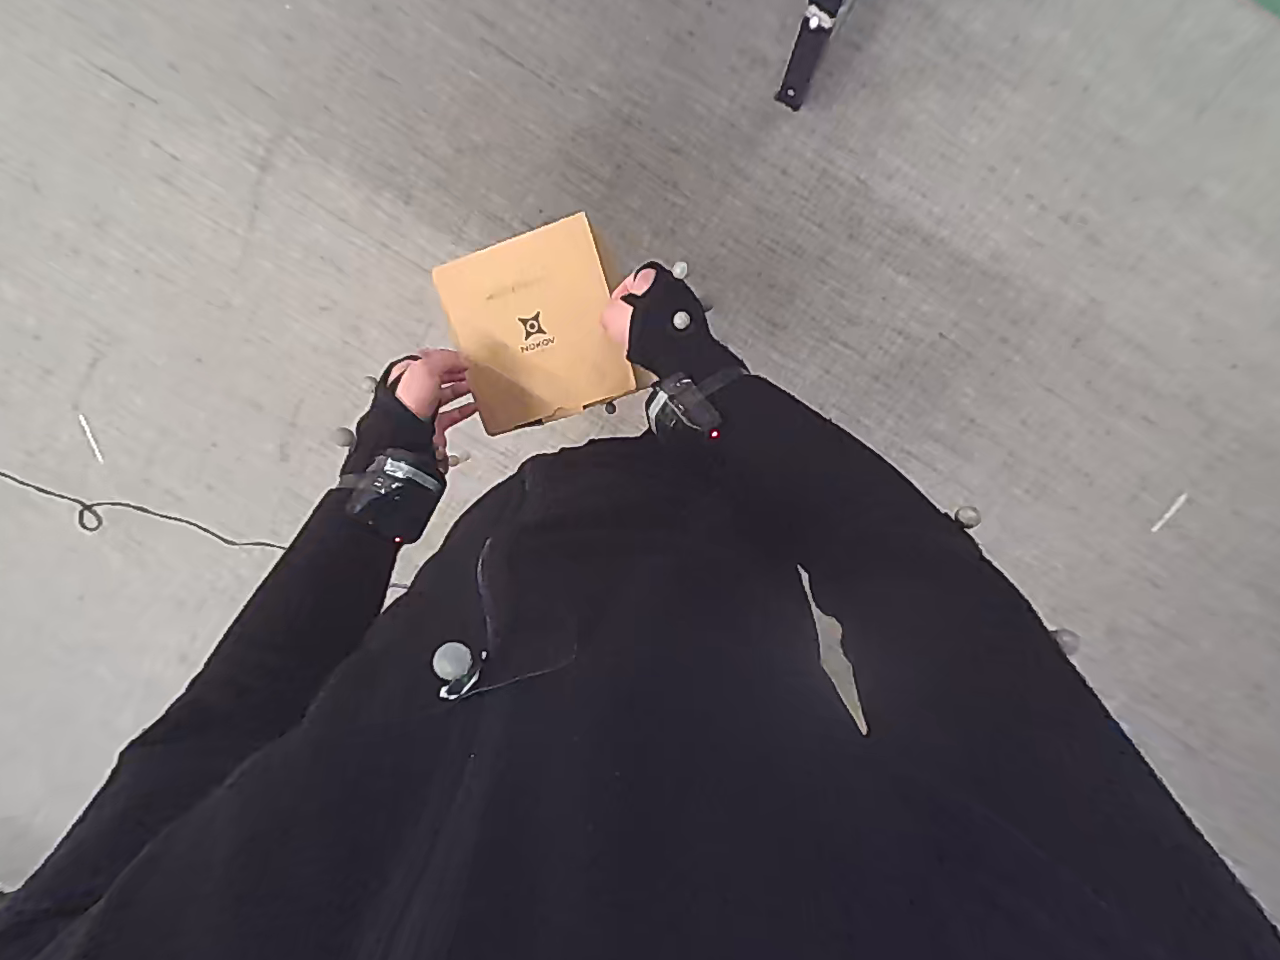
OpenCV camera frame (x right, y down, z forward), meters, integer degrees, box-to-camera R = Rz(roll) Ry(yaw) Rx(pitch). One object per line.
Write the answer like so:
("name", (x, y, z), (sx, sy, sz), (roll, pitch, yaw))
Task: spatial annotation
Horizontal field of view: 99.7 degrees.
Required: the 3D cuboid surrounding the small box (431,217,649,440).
("small box", (-0.094, -0.158, 0.605), (0.168, 0.176, 0.179), (-17, 98, 9))
